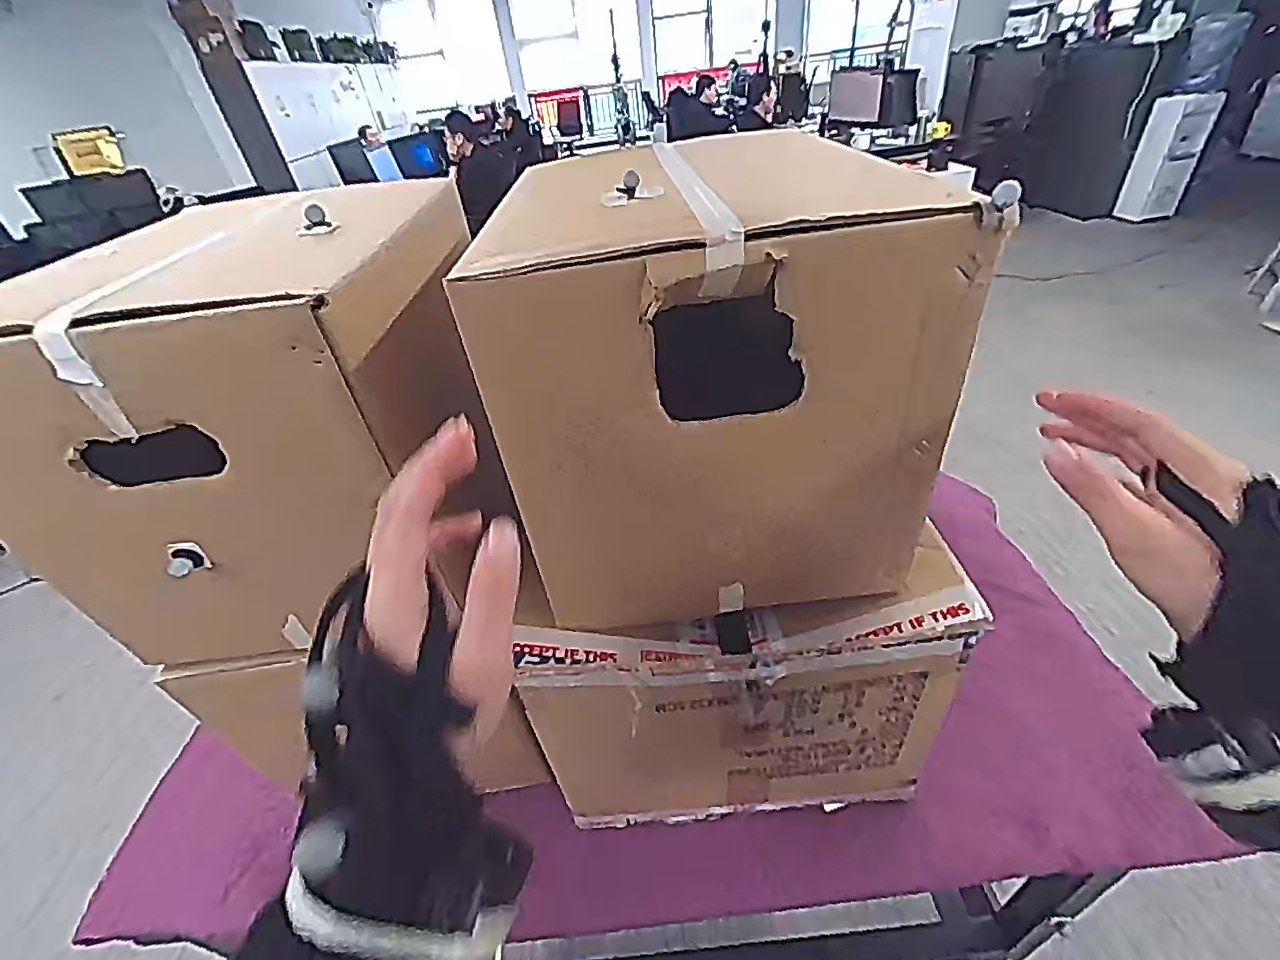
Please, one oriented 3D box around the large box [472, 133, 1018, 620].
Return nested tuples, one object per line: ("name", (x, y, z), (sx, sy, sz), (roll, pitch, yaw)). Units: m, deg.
("large box", (0.057, -0.129, 0.542), (0.320, 0.320, 0.408), (-8, 38, 2))
